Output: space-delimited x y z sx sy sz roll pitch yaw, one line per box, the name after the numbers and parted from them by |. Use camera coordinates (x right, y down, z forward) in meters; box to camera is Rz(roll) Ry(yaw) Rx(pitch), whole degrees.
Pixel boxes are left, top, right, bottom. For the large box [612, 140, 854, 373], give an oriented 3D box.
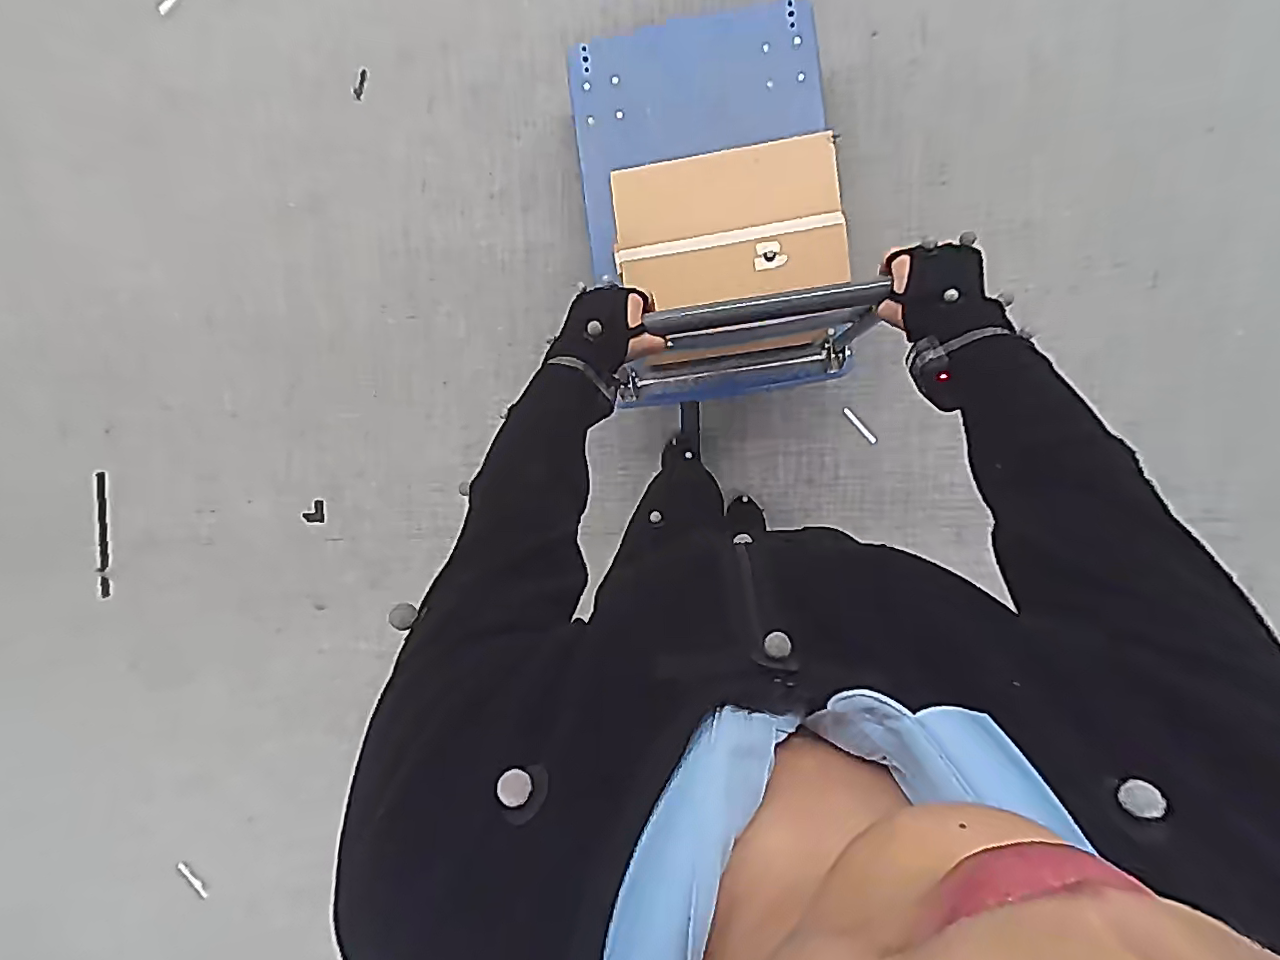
0.176 -0.425 1.118 0.408 0.320 0.320 -7 92 5 | large box
